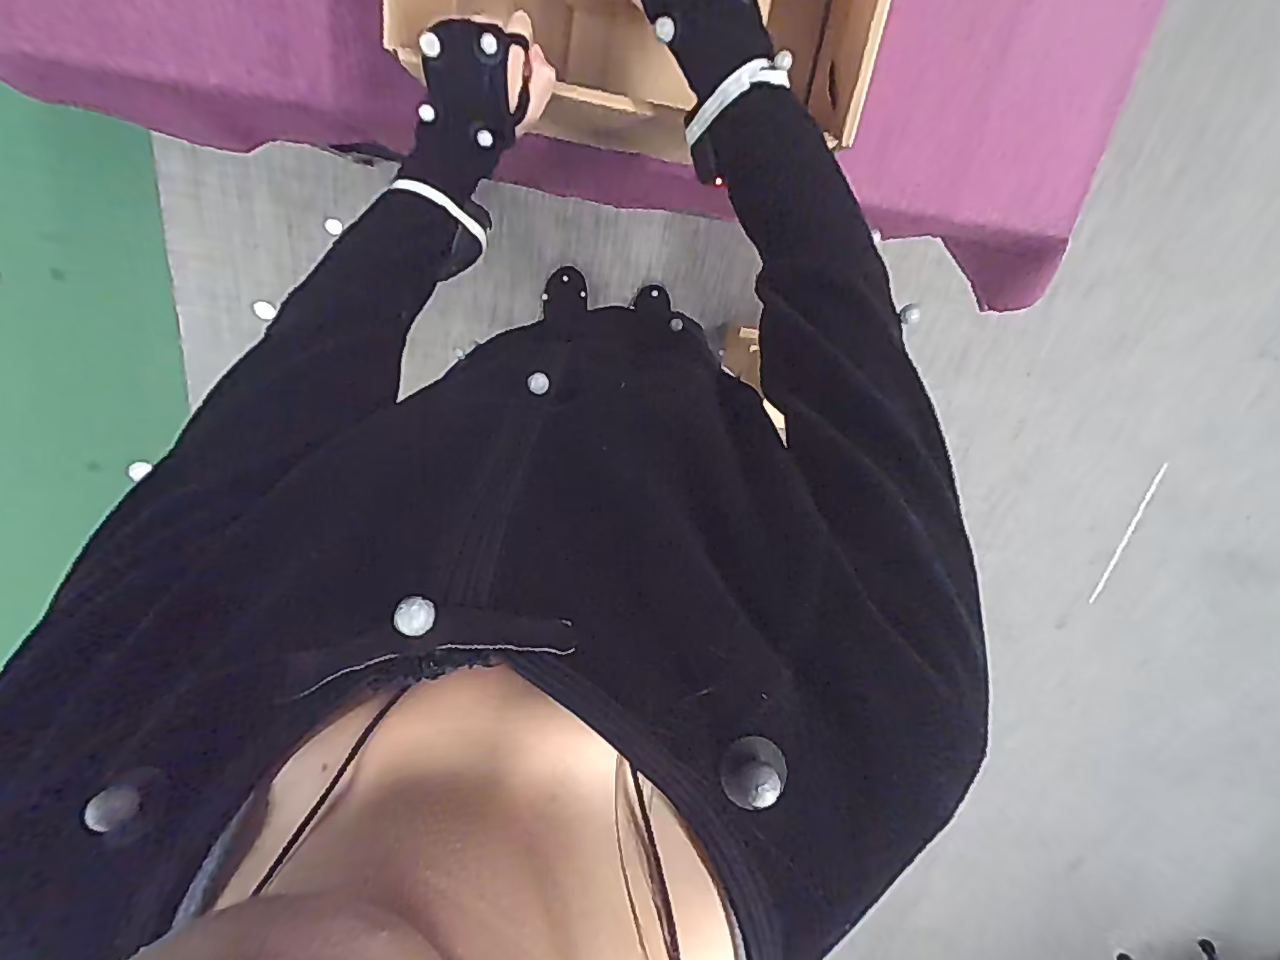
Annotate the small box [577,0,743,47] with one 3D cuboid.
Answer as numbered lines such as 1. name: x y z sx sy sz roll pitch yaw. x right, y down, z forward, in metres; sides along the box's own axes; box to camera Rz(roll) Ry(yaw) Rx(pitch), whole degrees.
1. small box: 0.025 -0.504 0.445 0.168 0.176 0.179 9 108 -5

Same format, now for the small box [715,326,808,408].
1. small box: 0.300 -0.292 1.372 0.179 0.176 0.168 7 111 -4
